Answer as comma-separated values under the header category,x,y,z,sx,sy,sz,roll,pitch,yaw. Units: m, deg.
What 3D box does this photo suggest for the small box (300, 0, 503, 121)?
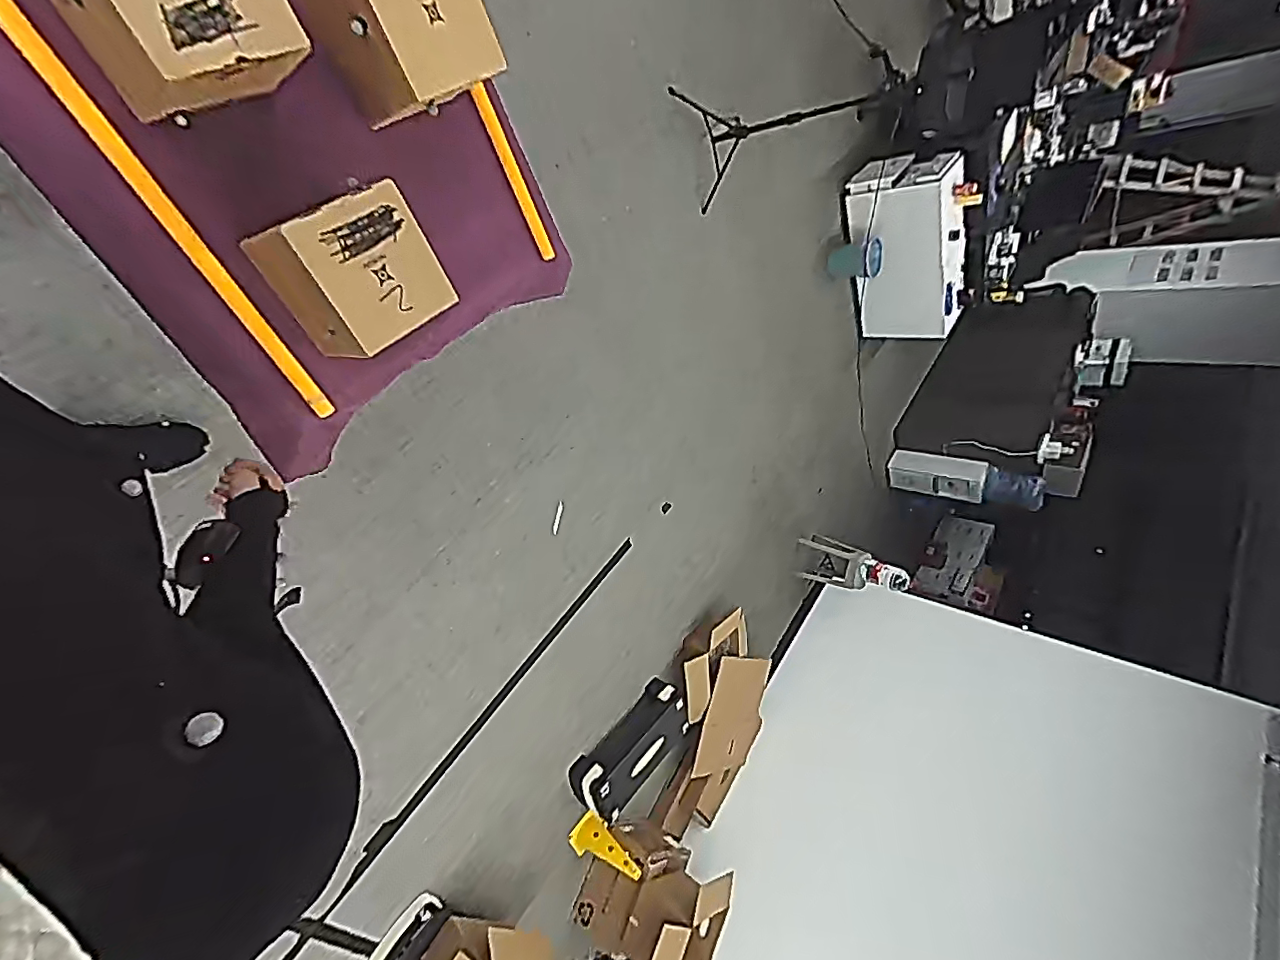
category,x,y,z,sx,sy,sz,roll,pitch,yaw
small box,-0.333,-0.633,0.759,0.168,0.176,0.179,-46,130,-28

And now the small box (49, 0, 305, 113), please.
category,x,y,z,sx,sy,sz,roll,pitch,yaw
small box,-0.516,-0.526,0.584,0.168,0.176,0.179,-47,130,-31
